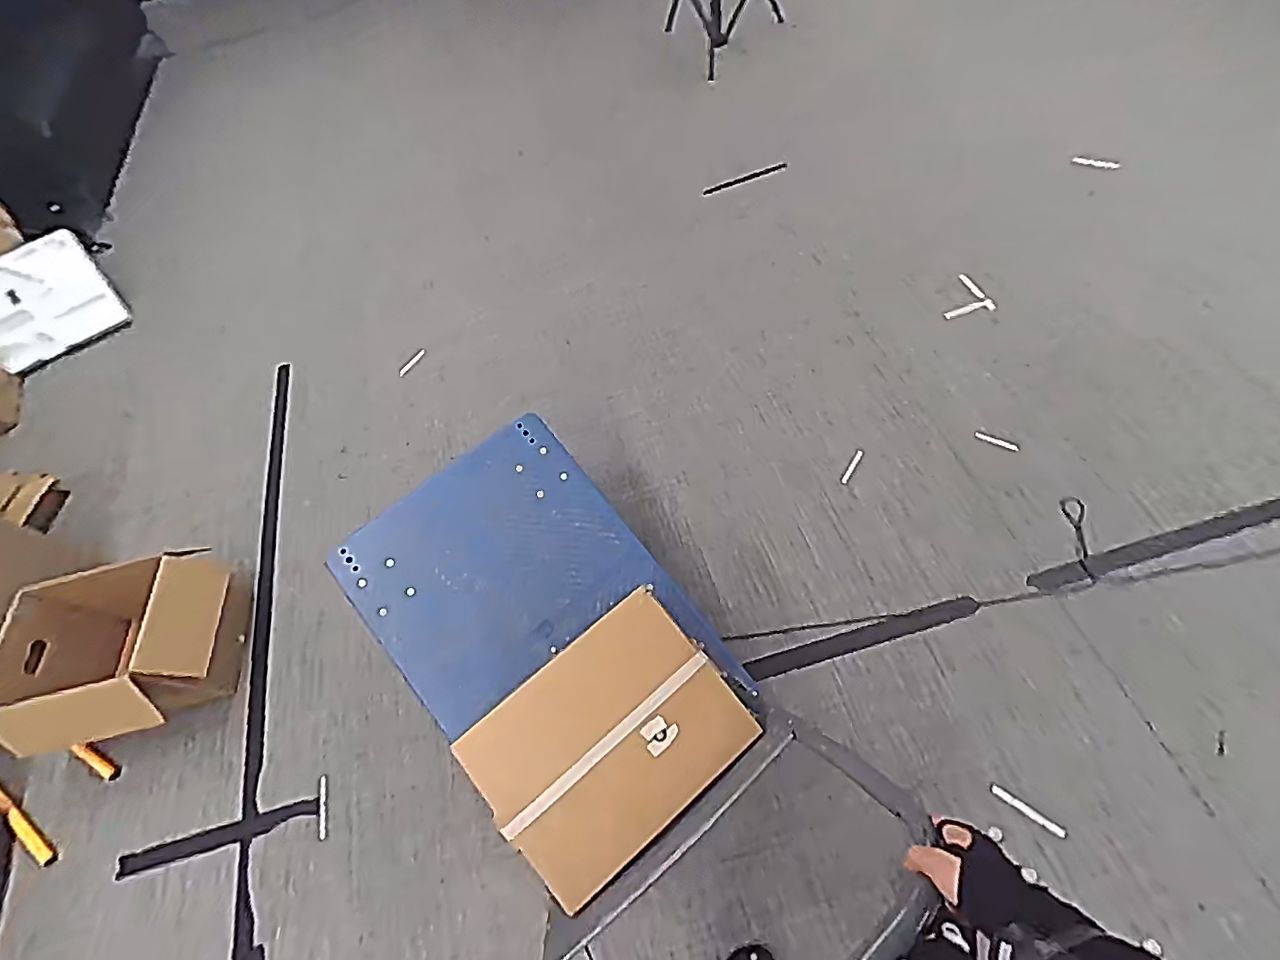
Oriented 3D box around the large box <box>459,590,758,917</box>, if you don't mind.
[{"bbox_3d":[-0.058,0.465,1.021,0.408,0.320,0.320,-39,82,-13],"label":"large box"}]
